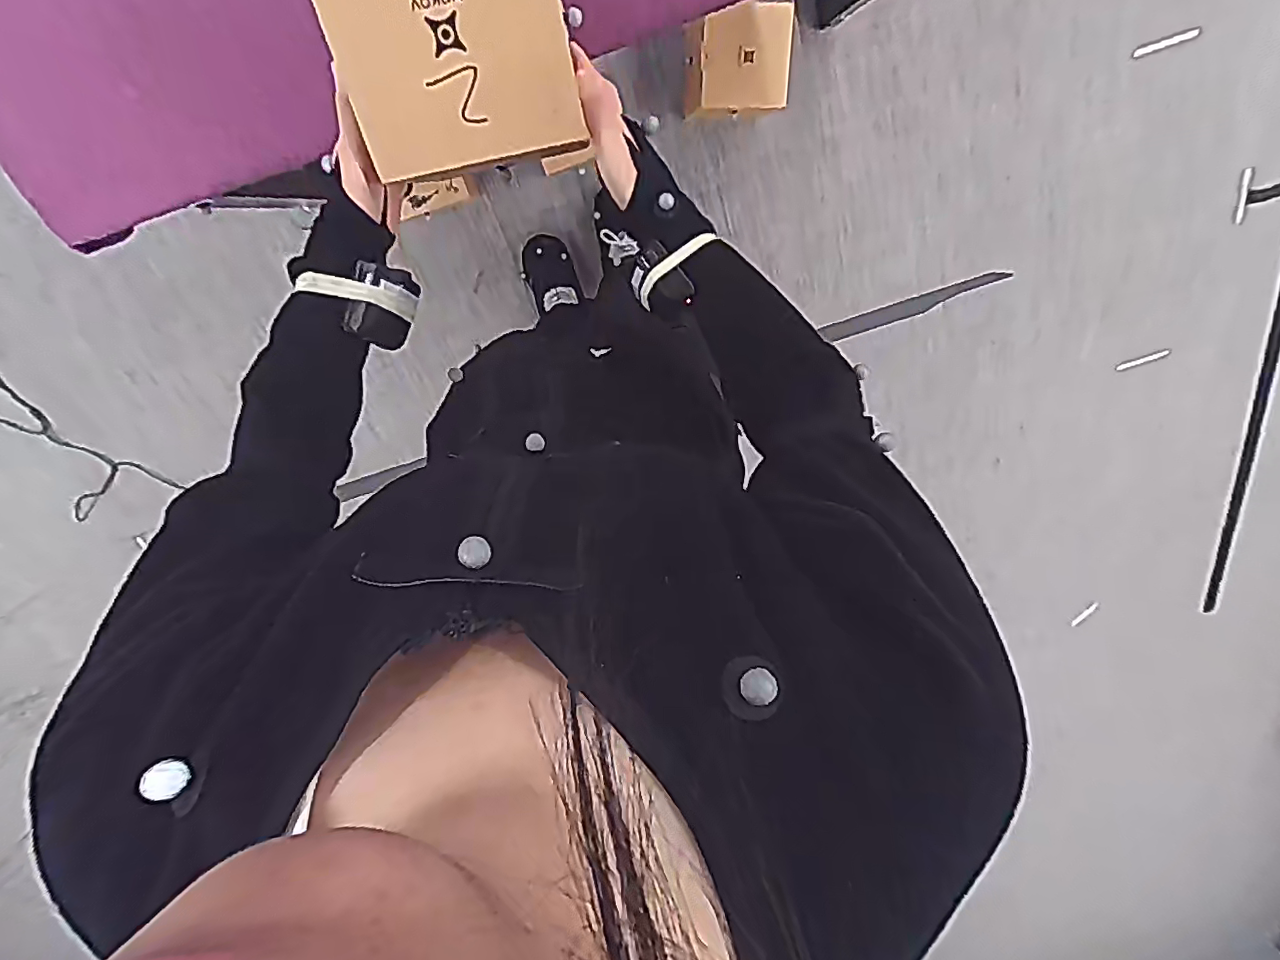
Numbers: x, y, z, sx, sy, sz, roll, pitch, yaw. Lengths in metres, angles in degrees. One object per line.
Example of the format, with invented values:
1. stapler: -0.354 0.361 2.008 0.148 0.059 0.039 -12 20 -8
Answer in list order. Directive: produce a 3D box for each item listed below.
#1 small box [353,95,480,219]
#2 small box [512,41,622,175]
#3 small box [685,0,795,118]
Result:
1. small box: -0.449 -0.653 1.116 0.168 0.176 0.179 -17 116 1
2. small box: -0.147 -0.748 1.107 0.168 0.176 0.179 -19 118 3
3. small box: 0.195 -0.849 1.103 0.179 0.176 0.168 -3 117 -5
